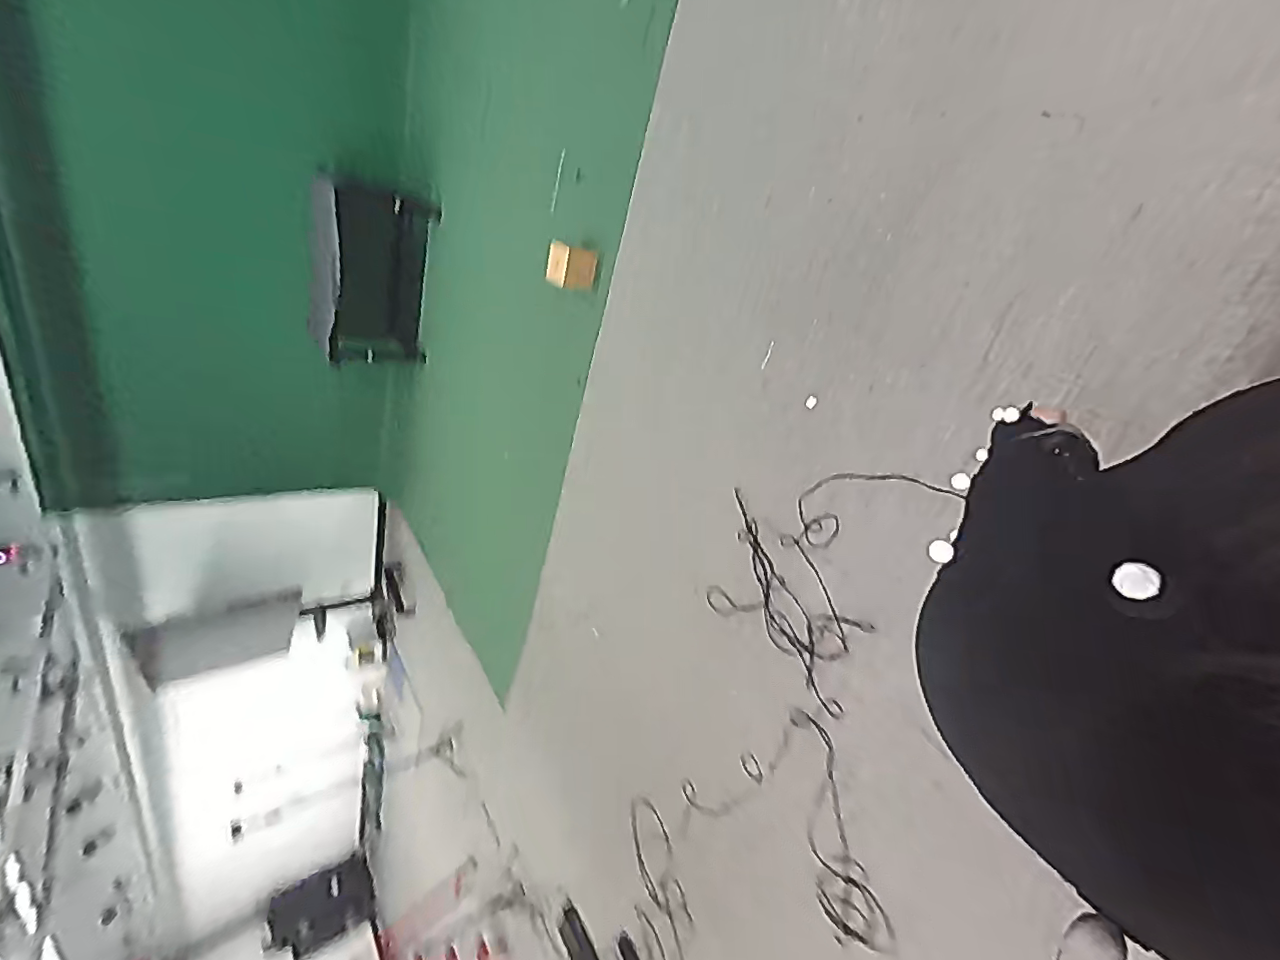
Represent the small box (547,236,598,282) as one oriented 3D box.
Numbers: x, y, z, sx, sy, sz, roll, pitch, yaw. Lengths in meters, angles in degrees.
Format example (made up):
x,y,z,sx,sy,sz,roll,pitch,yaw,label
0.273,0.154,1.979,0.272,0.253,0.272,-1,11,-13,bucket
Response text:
x,y,z,sx,sy,sz,roll,pitch,yaw,label
-0.322,-1.057,2.597,0.179,0.176,0.168,39,125,41,small box
